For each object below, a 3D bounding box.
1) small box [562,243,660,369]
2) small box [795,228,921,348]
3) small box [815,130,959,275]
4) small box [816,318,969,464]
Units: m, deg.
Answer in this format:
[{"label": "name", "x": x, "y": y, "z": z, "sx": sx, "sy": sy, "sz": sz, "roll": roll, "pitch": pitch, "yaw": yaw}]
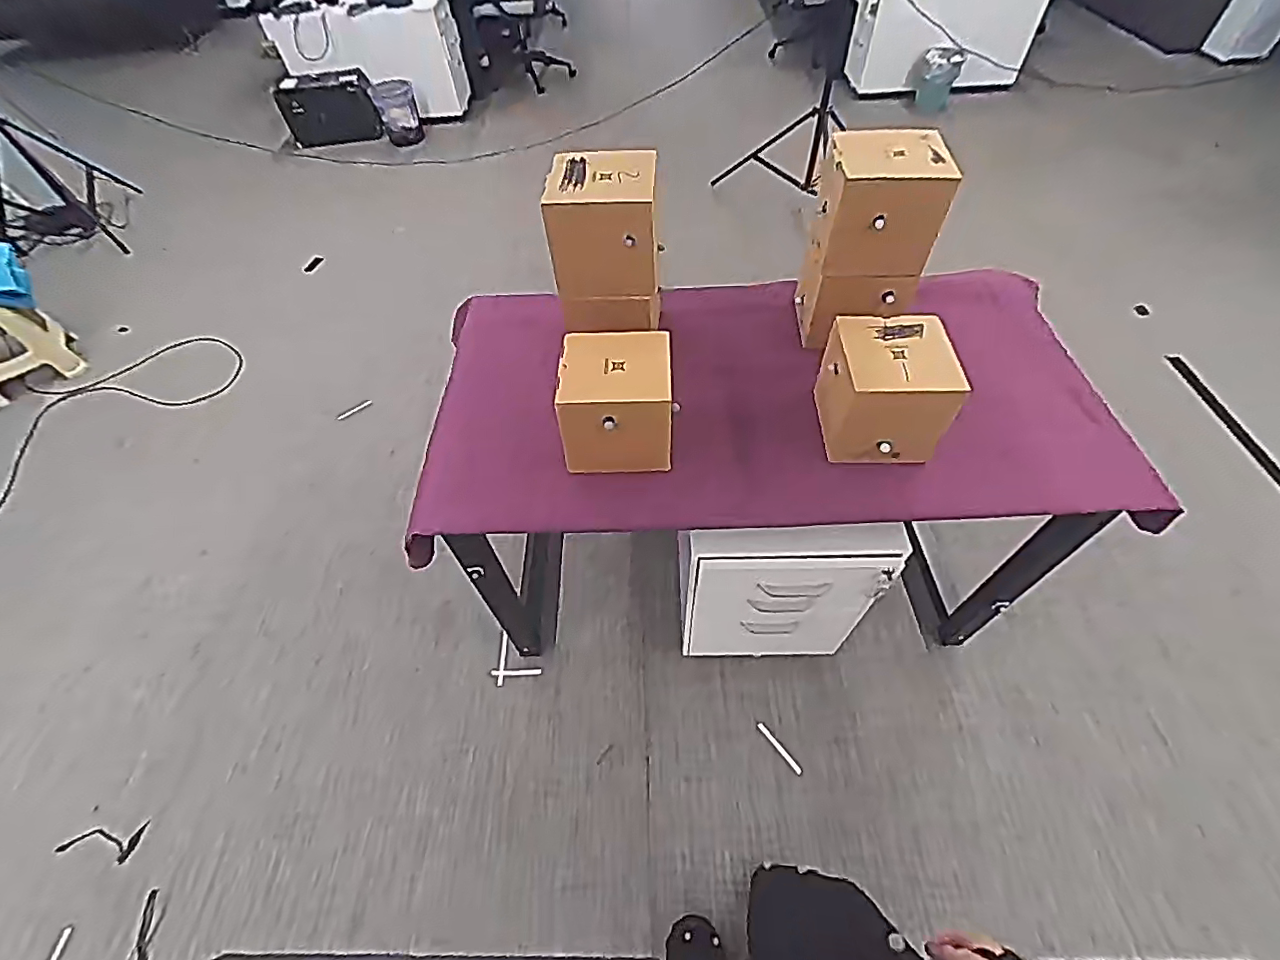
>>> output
[{"label": "small box", "x": -0.048, "y": -0.342, "z": 1.067, "sx": 0.168, "sy": 0.176, "sz": 0.179, "roll": 2, "pitch": 56, "yaw": 6}, {"label": "small box", "x": 0.416, "y": -0.374, "z": 1.062, "sx": 0.179, "sy": 0.176, "sz": 0.168, "roll": 1, "pitch": 54, "yaw": 4}, {"label": "small box", "x": 0.407, "y": -0.472, "z": 0.931, "sx": 0.179, "sy": 0.176, "sz": 0.168, "roll": 1, "pitch": 55, "yaw": 5}, {"label": "small box", "x": 0.400, "y": -0.146, "z": 0.894, "sx": 0.168, "sy": 0.176, "sz": 0.179, "roll": 0, "pitch": 53, "yaw": 4}]
